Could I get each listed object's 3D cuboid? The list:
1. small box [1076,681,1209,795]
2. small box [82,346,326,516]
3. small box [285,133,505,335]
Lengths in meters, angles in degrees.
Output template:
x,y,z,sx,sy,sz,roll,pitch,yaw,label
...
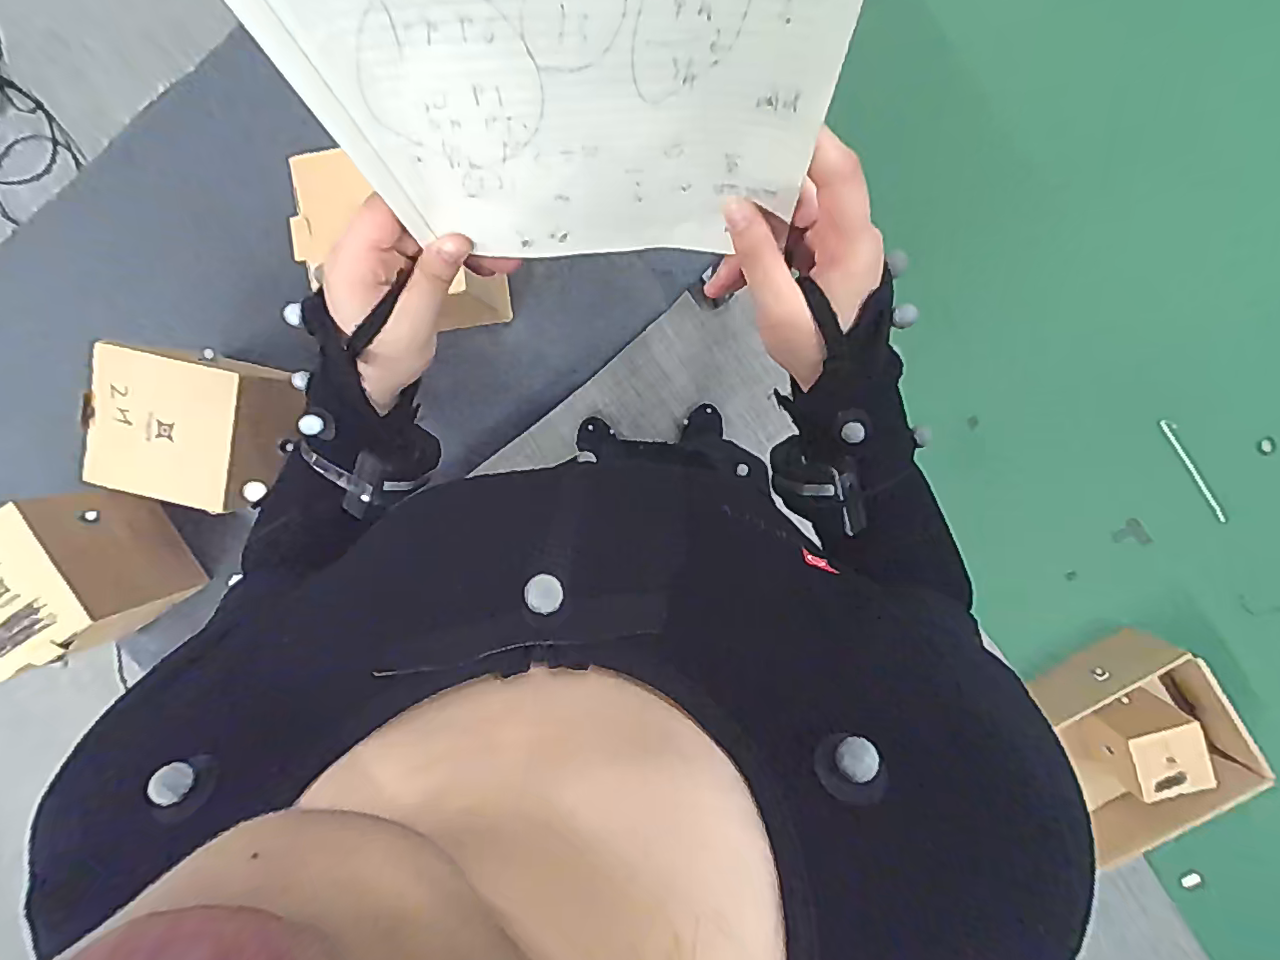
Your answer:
x,y,z,sx,sy,sz,roll,pitch,yaw,label
1.257,0.645,1.364,0.168,0.176,0.179,-20,96,6,small box
-0.540,-0.064,0.692,0.179,0.176,0.168,13,97,2,small box
-0.273,-0.277,0.649,0.179,0.176,0.168,-7,96,6,small box
